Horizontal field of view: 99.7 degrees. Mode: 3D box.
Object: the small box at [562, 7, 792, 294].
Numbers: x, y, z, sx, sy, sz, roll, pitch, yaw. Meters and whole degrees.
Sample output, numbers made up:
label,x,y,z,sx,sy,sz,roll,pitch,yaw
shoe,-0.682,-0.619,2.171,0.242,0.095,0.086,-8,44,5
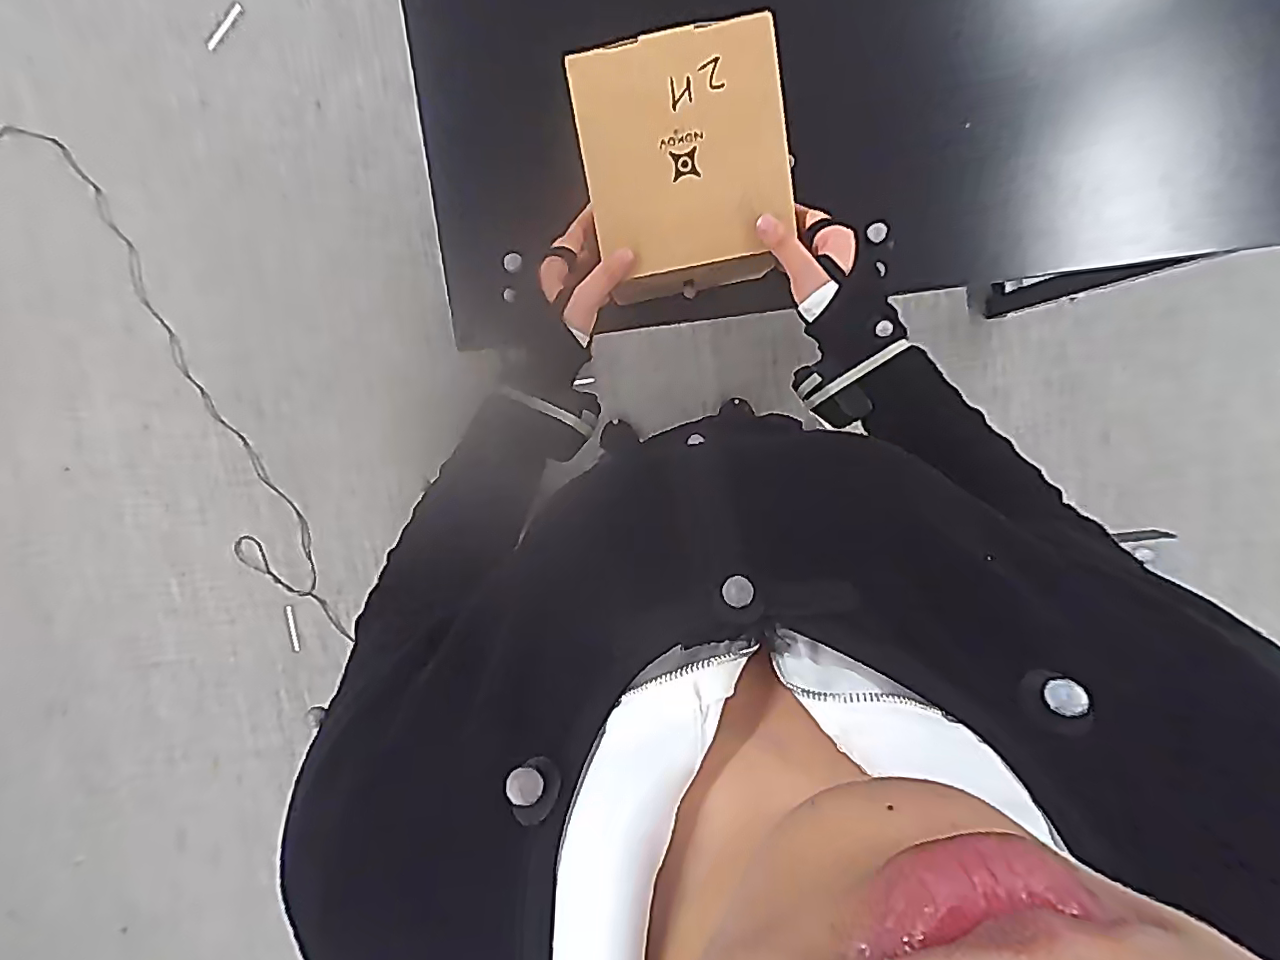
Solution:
label,x,y,z,sx,sy,sz,roll,pitch,yaw
small box,0.036,-0.283,0.515,0.168,0.176,0.179,-10,101,4
